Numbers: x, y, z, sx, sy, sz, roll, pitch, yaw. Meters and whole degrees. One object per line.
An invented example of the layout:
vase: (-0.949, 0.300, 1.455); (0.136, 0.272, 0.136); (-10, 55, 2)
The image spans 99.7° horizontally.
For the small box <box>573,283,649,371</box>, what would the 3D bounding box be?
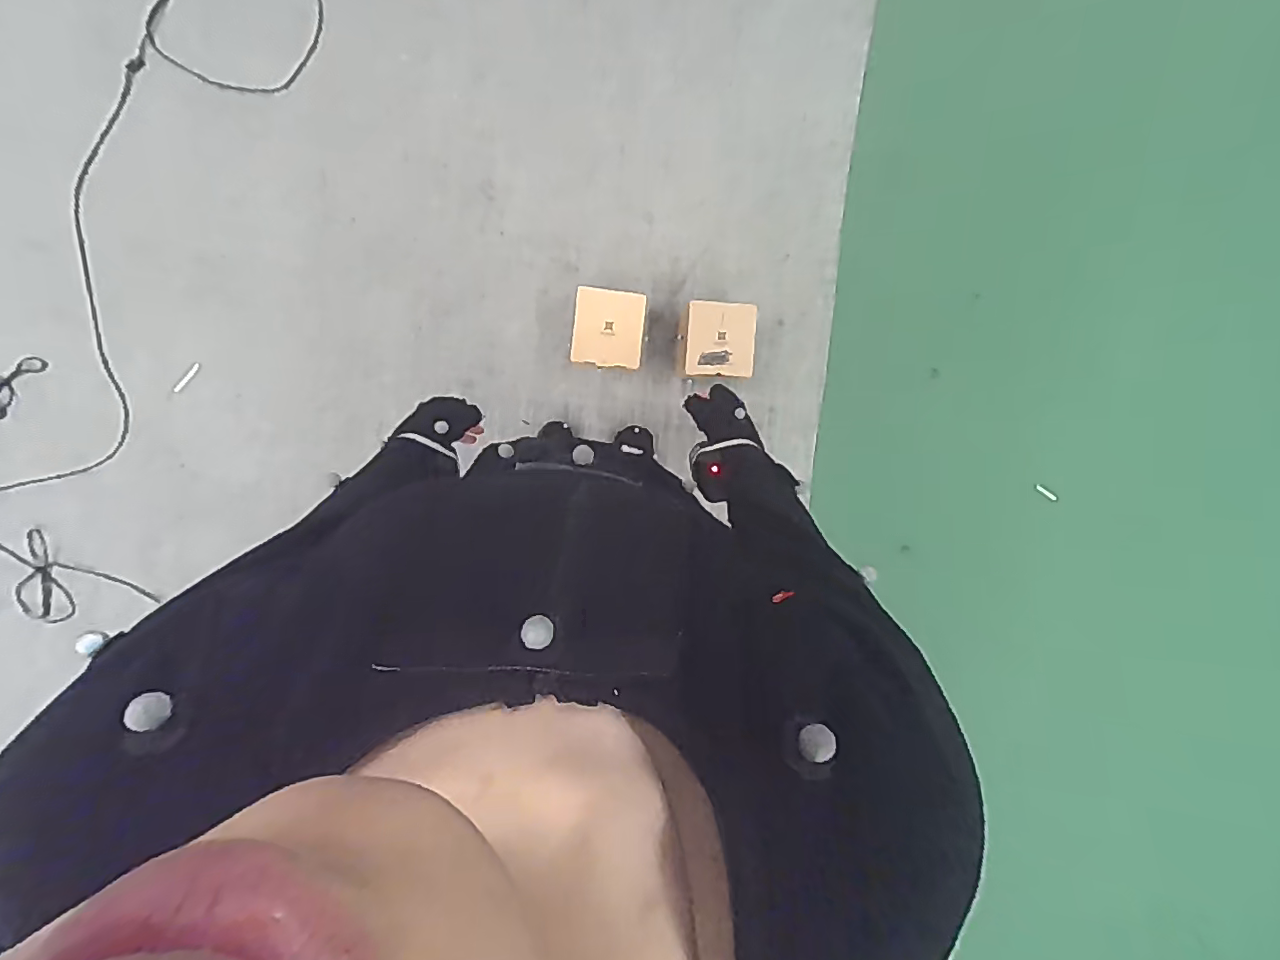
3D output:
small box: (-0.075, -0.374, 1.350); (0.168, 0.176, 0.179); (6, 98, -4)

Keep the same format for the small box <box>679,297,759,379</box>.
small box: (0.192, -0.350, 1.367); (0.168, 0.176, 0.179); (3, 97, -4)
